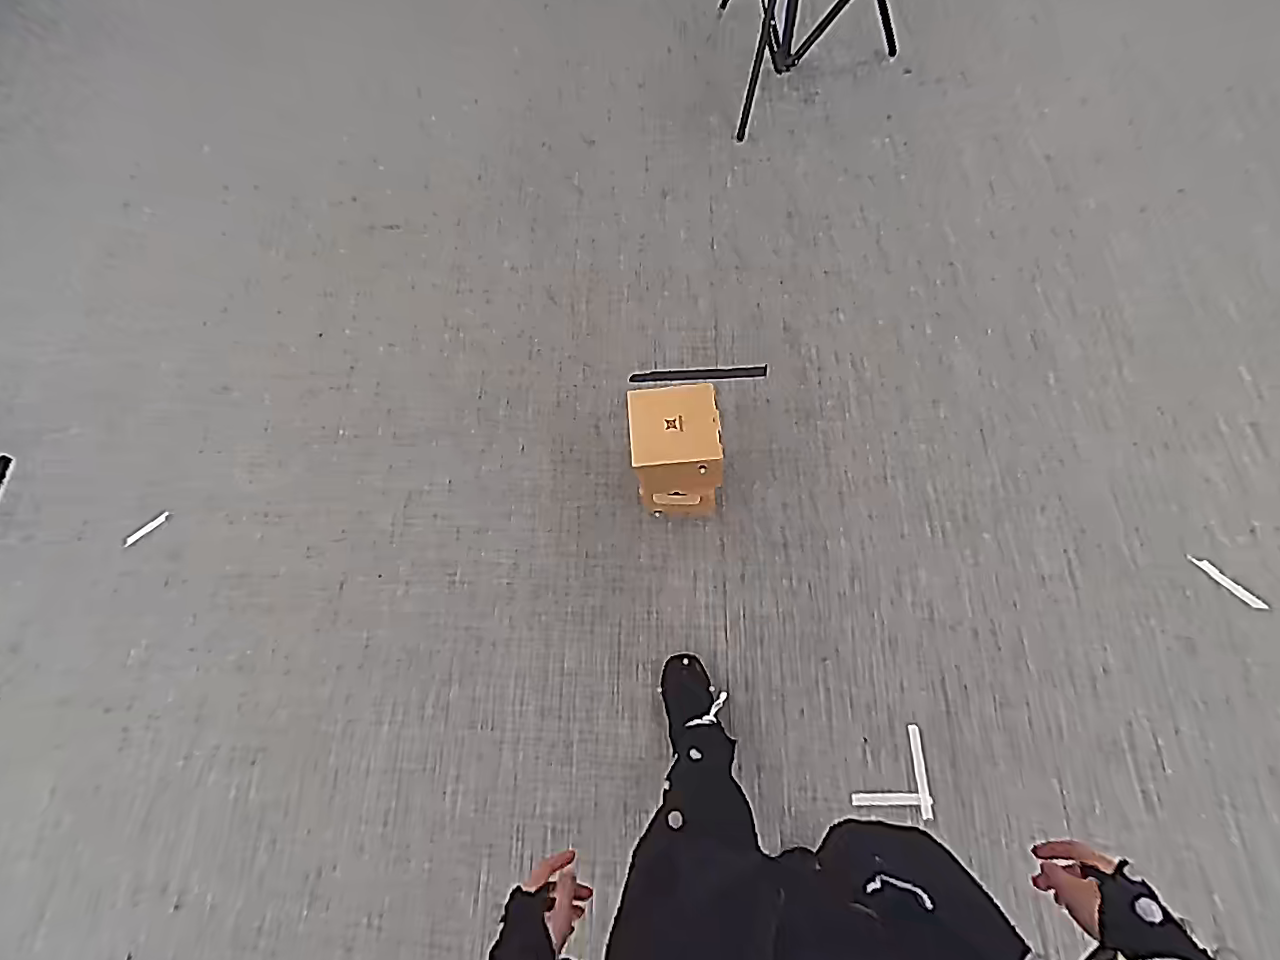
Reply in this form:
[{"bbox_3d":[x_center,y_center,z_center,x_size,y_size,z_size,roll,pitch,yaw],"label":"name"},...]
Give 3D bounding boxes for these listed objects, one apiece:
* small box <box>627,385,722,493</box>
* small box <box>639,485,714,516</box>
[{"bbox_3d":[0.074,-0.078,1.123,0.179,0.176,0.168,-6,71,4],"label":"small box"},{"bbox_3d":[0.092,-0.018,1.274,0.168,0.176,0.179,1,71,6],"label":"small box"}]
